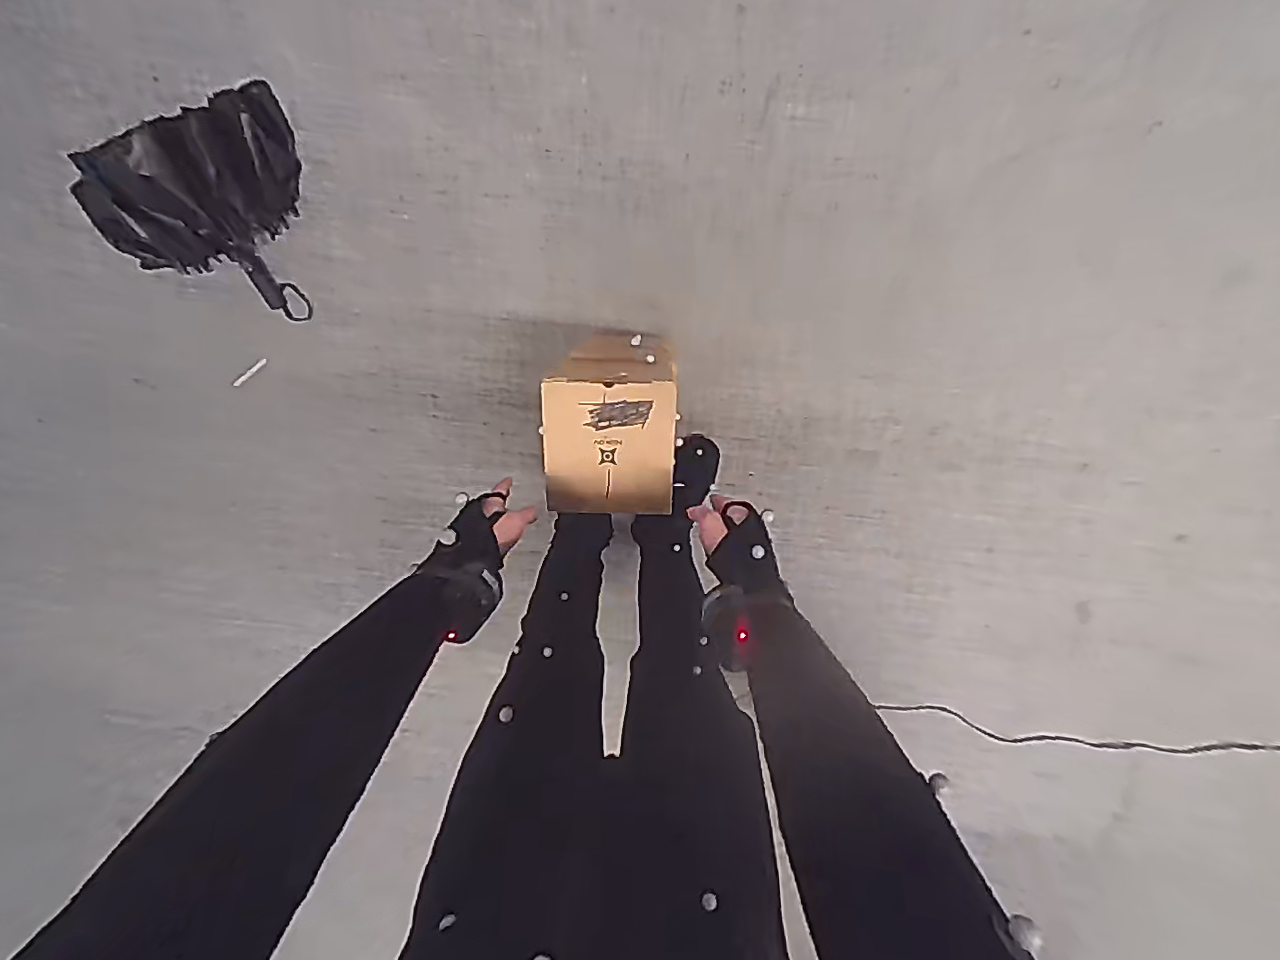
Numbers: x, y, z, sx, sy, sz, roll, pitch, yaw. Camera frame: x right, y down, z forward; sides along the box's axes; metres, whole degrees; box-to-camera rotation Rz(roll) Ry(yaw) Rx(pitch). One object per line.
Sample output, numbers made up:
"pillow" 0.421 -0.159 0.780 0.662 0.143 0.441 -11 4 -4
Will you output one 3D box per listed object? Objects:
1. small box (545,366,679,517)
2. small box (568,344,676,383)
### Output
"small box" -0.037 -0.062 0.759 0.168 0.176 0.179 1 112 0
"small box" -0.032 -0.126 0.911 0.168 0.176 0.179 5 109 -1
